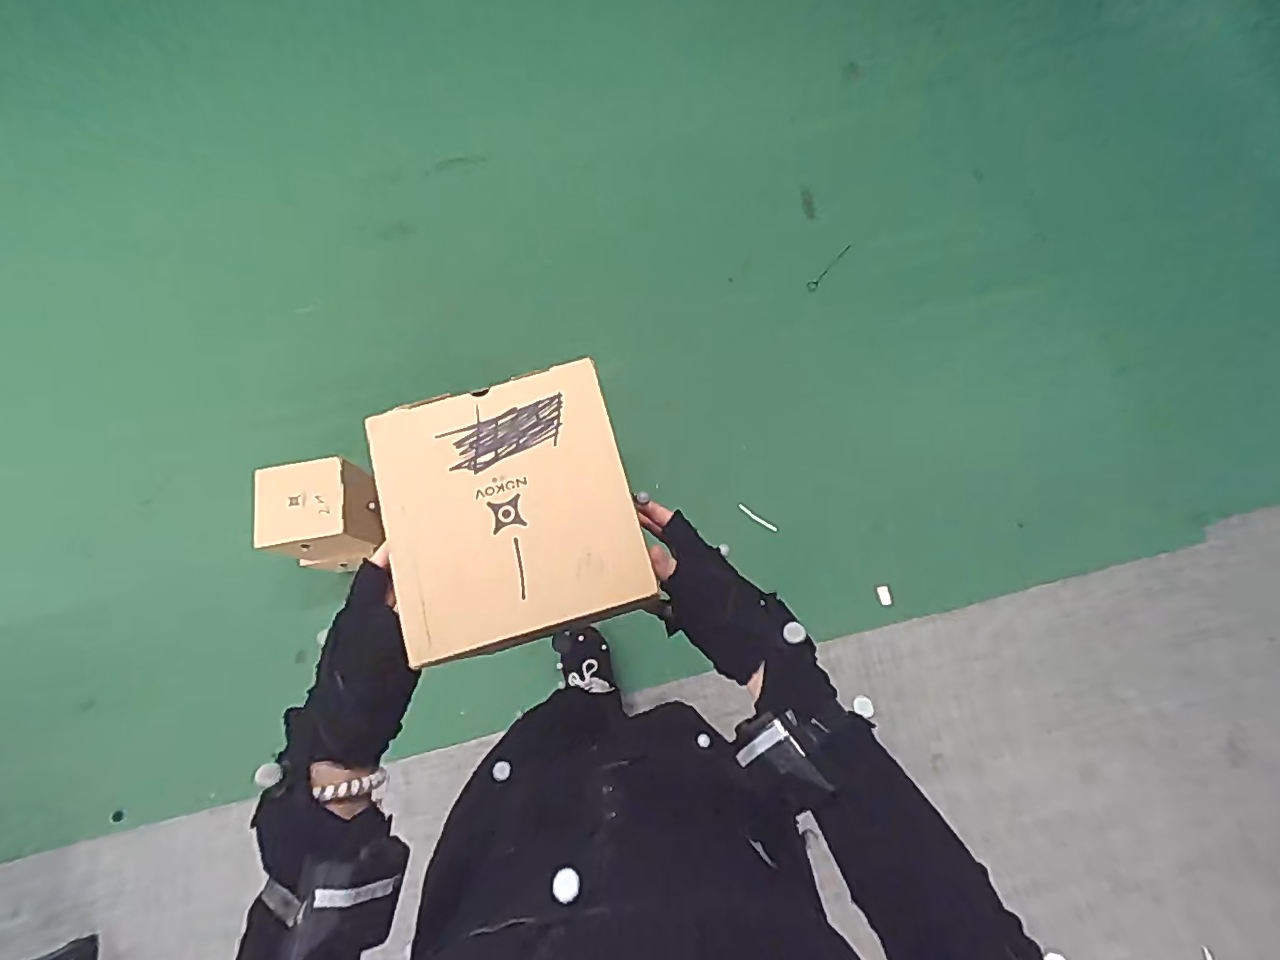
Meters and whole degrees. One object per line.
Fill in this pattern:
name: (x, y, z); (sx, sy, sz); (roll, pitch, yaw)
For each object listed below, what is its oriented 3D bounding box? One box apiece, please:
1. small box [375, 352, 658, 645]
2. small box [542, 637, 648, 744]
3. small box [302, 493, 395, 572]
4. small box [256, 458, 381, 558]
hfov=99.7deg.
small box: (-0.087, 0.027, 0.443); (0.168, 0.176, 0.179); (-16, 75, -2)
small box: (-0.107, 0.479, 1.254); (0.179, 0.176, 0.168); (21, 86, 21)
small box: (-0.695, 0.125, 1.322); (0.168, 0.176, 0.179); (-8, 74, -4)
small box: (-0.685, 0.067, 1.168); (0.179, 0.176, 0.168); (-9, 74, -4)
